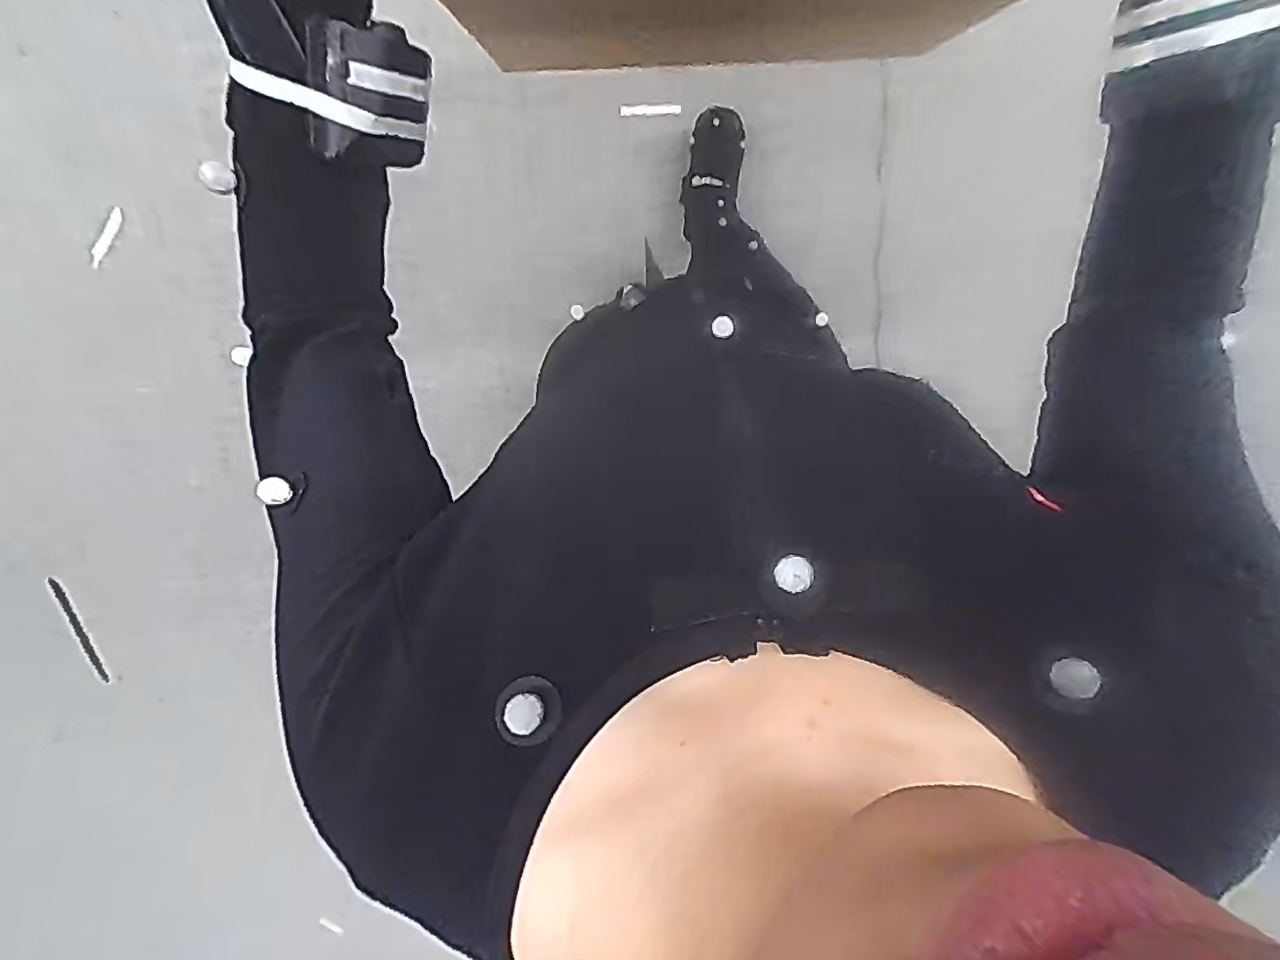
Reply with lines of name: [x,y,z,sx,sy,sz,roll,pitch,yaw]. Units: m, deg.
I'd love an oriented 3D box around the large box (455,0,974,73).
large box: [0.060,-0.478,0.319,0.408,0.320,0.320,-3,116,0]
